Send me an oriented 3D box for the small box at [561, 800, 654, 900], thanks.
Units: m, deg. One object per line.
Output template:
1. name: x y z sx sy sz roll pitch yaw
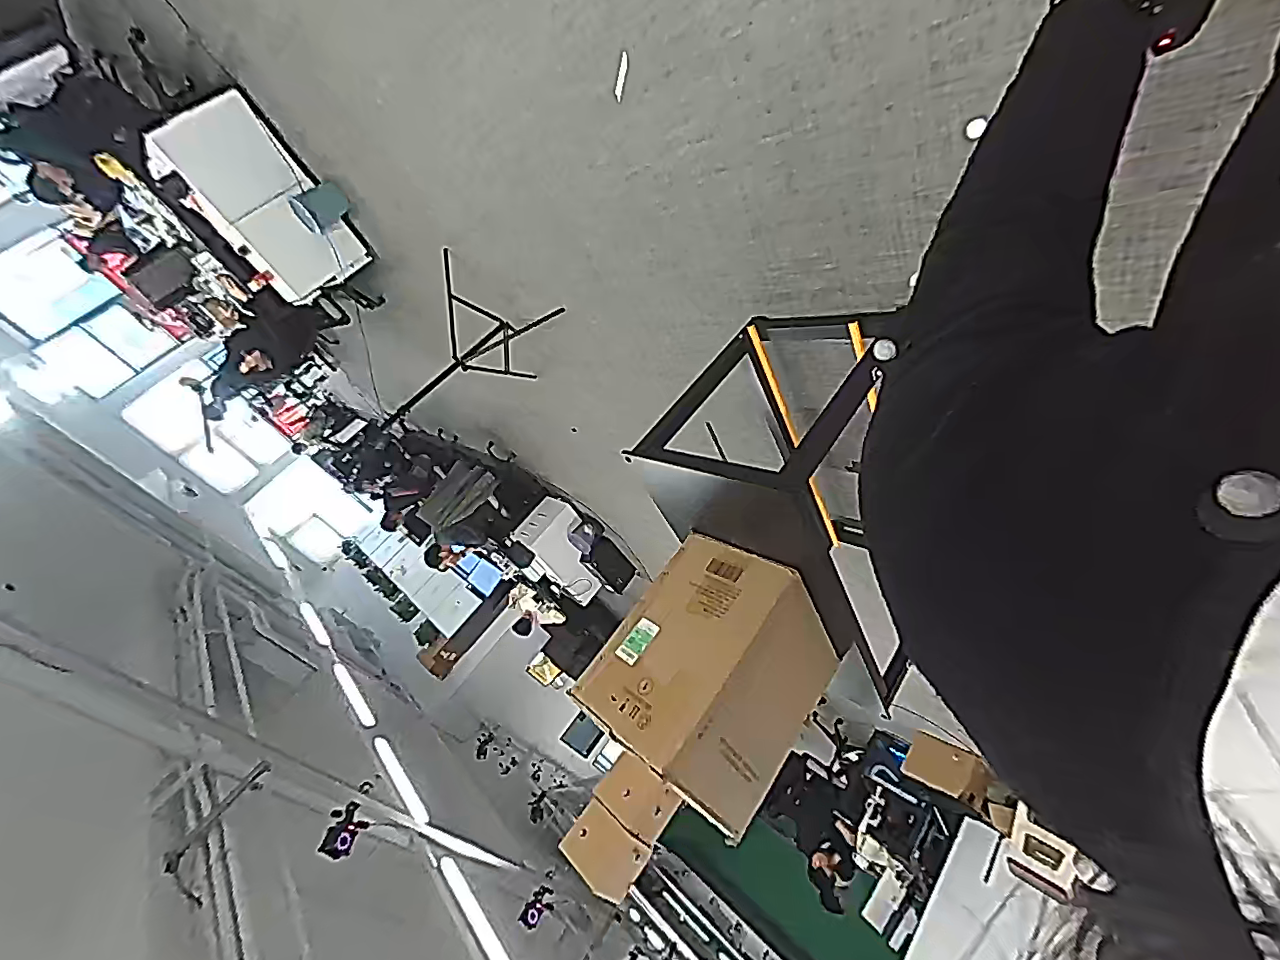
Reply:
1. small box: -0.091 1.078 1.593 0.179 0.176 0.168 18 150 46

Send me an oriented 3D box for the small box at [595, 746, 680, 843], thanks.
1. small box: 0.001 0.962 1.664 0.179 0.176 0.168 17 148 47
